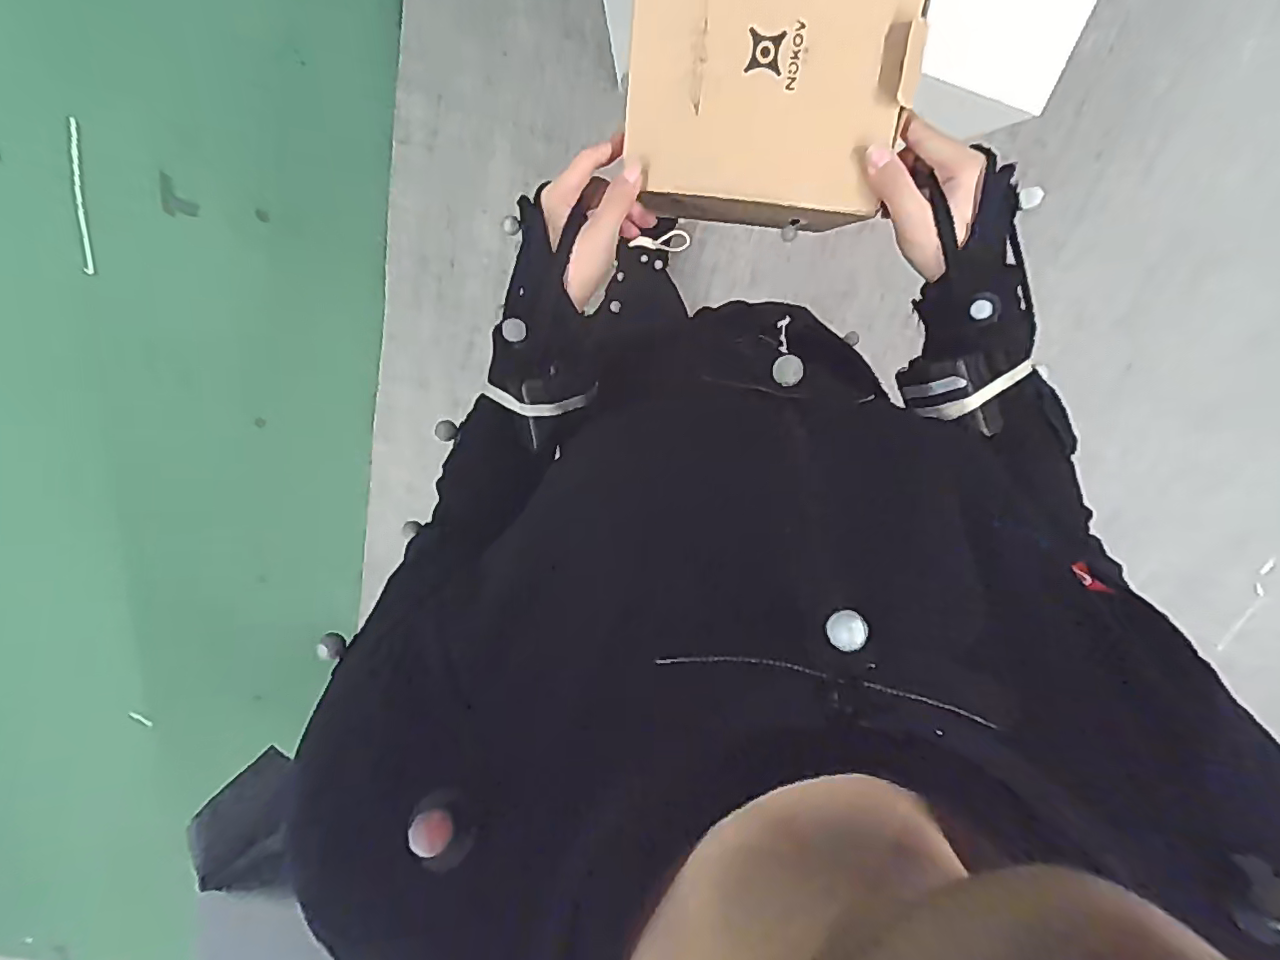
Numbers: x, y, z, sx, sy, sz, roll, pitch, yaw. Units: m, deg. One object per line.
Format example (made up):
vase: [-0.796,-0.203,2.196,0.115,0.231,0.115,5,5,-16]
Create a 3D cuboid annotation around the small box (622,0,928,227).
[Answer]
small box: [0.086,-0.291,0.404,0.179,0.176,0.168,6,110,2]
